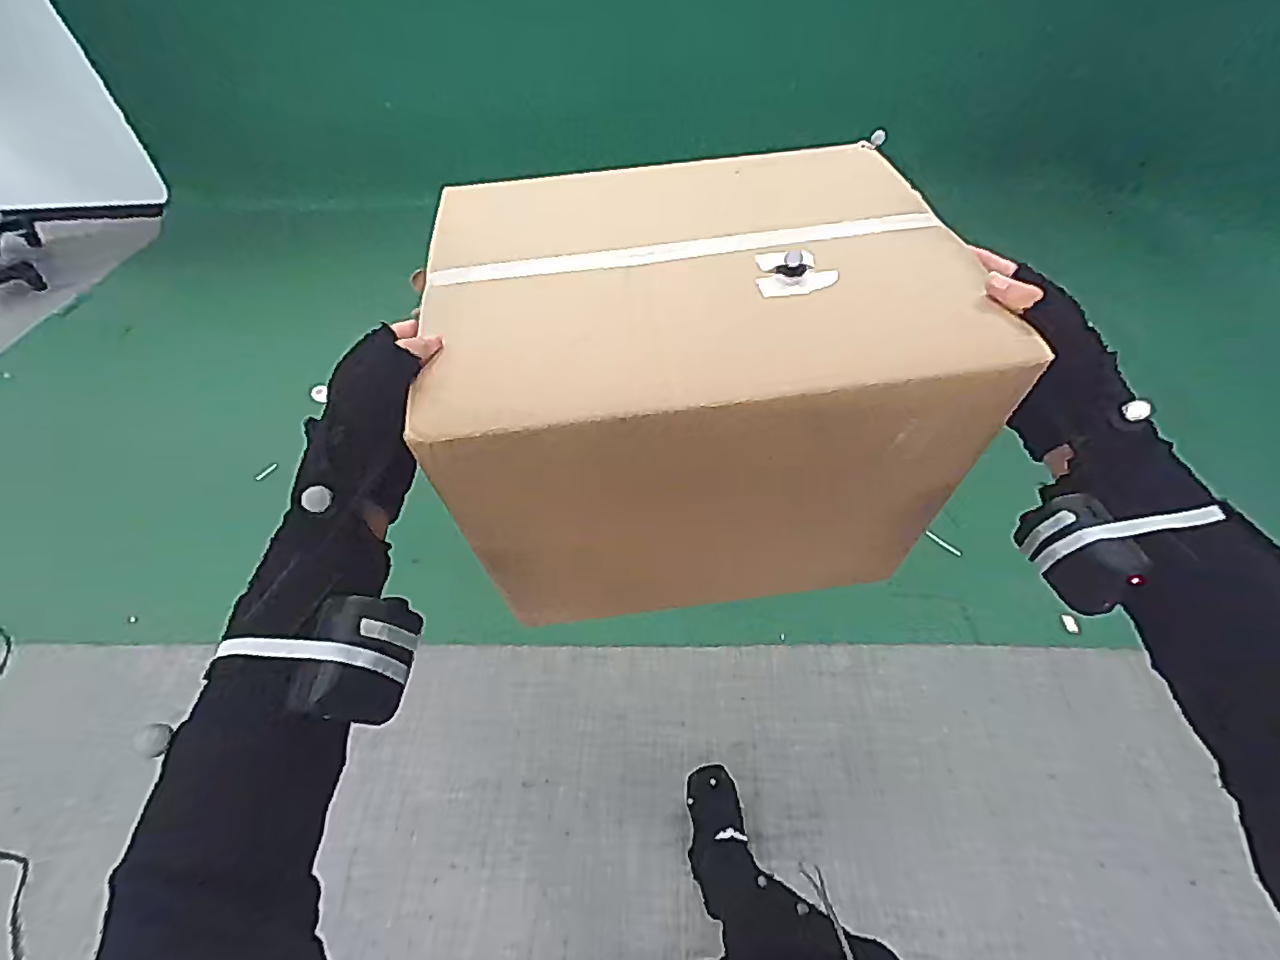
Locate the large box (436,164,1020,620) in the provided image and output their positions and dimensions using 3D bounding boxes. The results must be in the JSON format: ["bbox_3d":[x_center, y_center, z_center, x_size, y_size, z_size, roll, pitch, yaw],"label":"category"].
[{"bbox_3d":[0.046,-0.081,0.559,0.408,0.320,0.320,-7,55,-3],"label":"large box"}]
